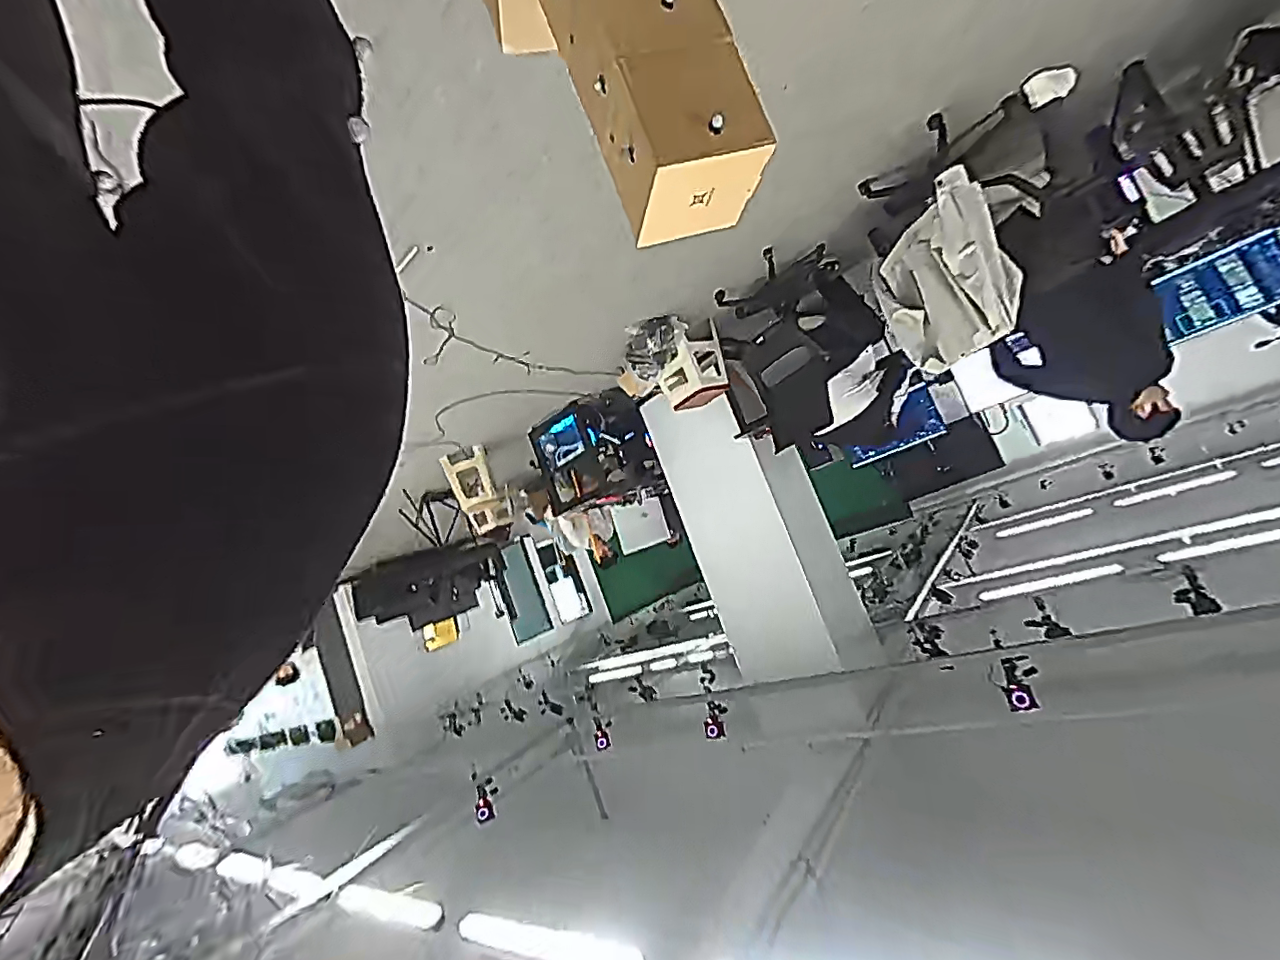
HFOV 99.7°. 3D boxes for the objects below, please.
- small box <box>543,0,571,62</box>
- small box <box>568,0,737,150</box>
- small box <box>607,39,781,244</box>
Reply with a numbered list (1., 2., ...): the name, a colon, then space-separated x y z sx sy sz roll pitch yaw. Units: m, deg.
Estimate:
1. small box: -0.052 -0.781 0.807 0.179 0.176 0.168 -19 173 -13
2. small box: 0.009 -0.629 0.788 0.179 0.176 0.168 -20 173 -13
3. small box: 0.064 -0.477 0.771 0.179 0.176 0.168 -20 173 -12
